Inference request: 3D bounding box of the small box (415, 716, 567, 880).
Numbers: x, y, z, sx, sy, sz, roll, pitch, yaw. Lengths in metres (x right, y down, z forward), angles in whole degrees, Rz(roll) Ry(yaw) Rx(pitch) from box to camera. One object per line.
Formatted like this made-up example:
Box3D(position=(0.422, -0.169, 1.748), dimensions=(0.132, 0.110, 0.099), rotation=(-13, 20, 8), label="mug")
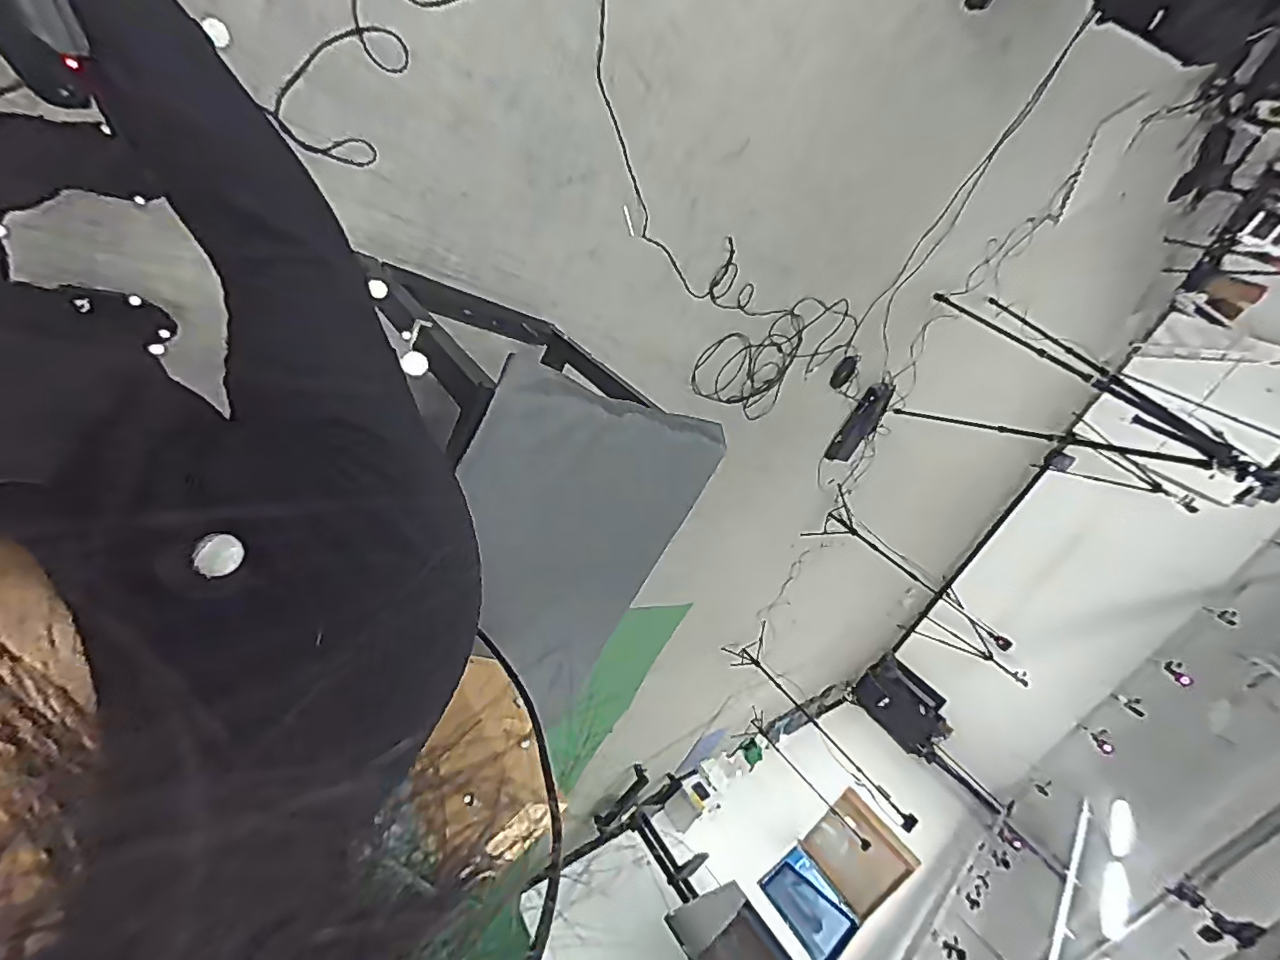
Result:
Box3D(position=(-0.267, 0.553, 0.951), dimensions=(0.179, 0.176, 0.168), rotation=(-42, 145, -7), label="small box")
